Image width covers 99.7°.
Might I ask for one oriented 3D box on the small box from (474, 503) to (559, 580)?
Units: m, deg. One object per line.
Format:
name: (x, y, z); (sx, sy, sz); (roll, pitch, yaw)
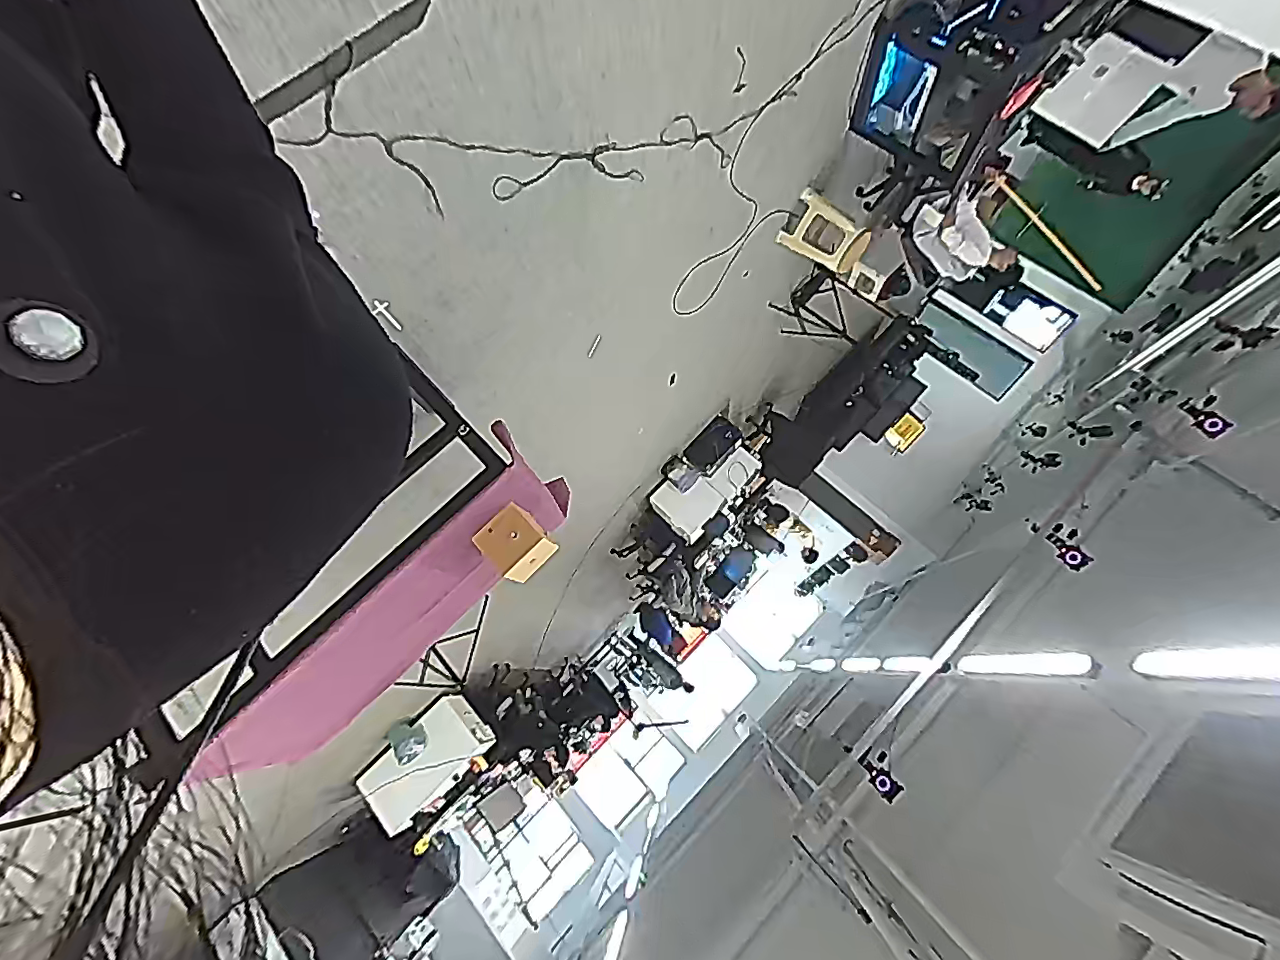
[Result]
small box: (-0.391, 0.194, 1.714); (0.168, 0.176, 0.179); (-45, 163, -6)
